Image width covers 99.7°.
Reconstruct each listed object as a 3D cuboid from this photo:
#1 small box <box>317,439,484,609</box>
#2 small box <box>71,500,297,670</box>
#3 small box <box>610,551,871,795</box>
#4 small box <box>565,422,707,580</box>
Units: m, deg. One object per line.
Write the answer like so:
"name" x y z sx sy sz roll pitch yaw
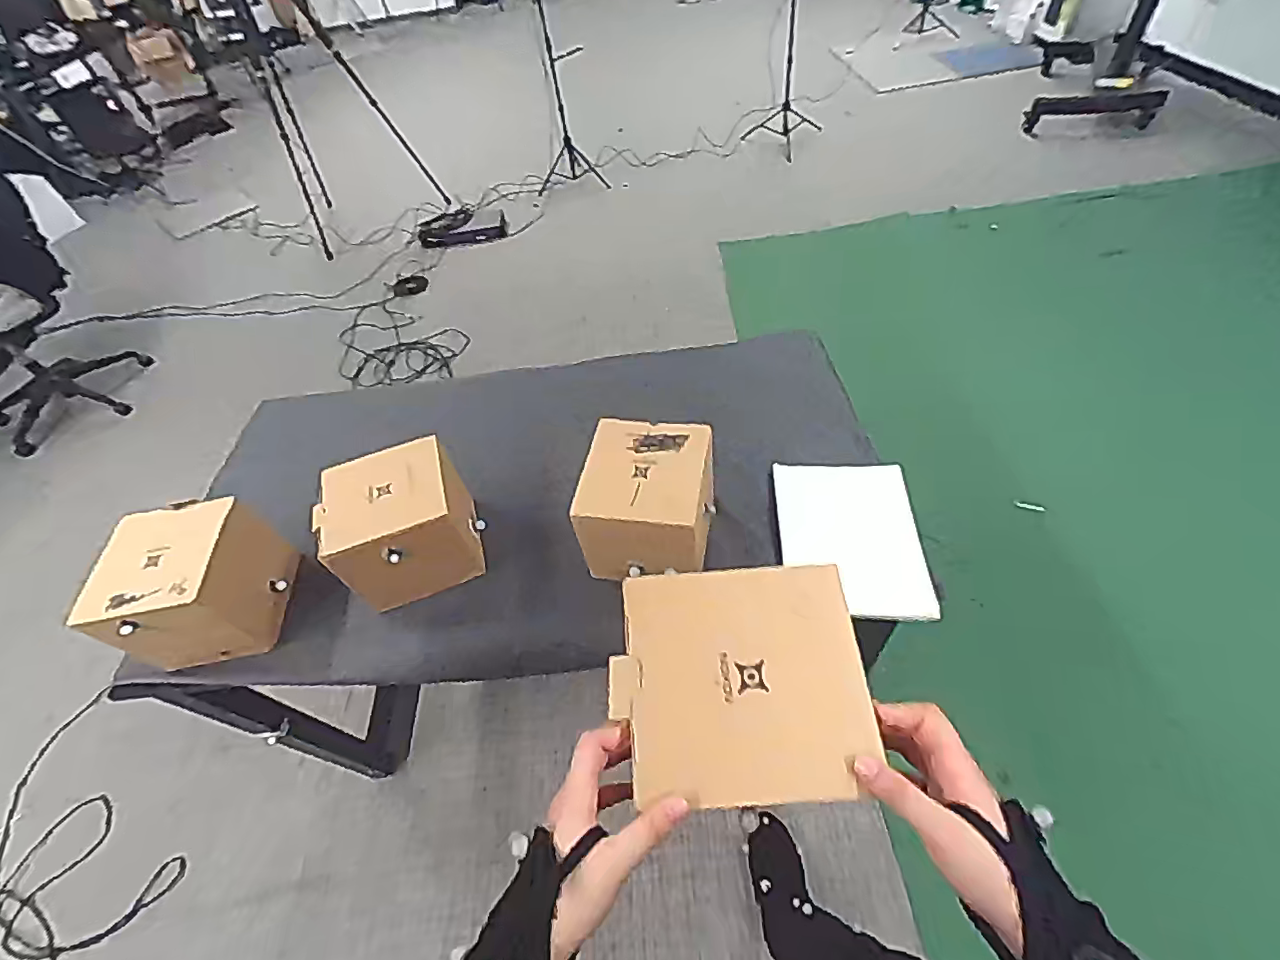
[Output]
"small box" -0.362 0.072 0.833 0.179 0.176 0.168 -19 52 -8
"small box" -0.652 0.158 0.806 0.168 0.176 0.179 -11 51 -1
"small box" 0.072 0.173 0.477 0.179 0.176 0.168 -6 61 2
"small box" 0.007 0.038 0.796 0.168 0.176 0.179 4 52 13
